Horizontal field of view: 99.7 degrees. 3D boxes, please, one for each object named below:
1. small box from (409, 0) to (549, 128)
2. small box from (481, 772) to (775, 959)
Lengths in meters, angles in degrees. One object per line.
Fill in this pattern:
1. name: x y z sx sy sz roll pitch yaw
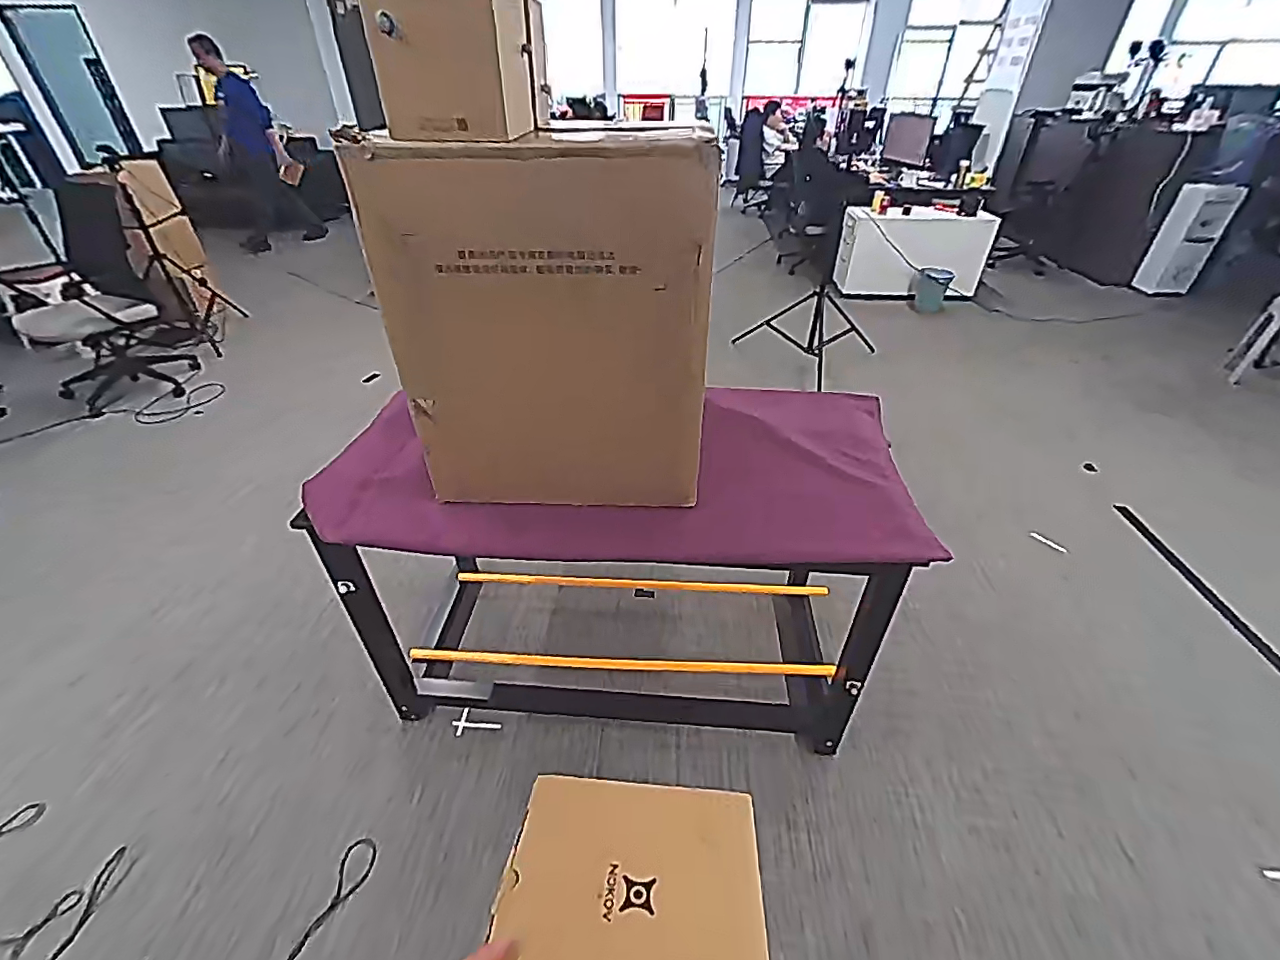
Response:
1. small box: -0.253 -0.686 0.894 0.179 0.176 0.168 1 37 -1
2. small box: -0.005 0.345 0.384 0.179 0.176 0.168 2 21 5
